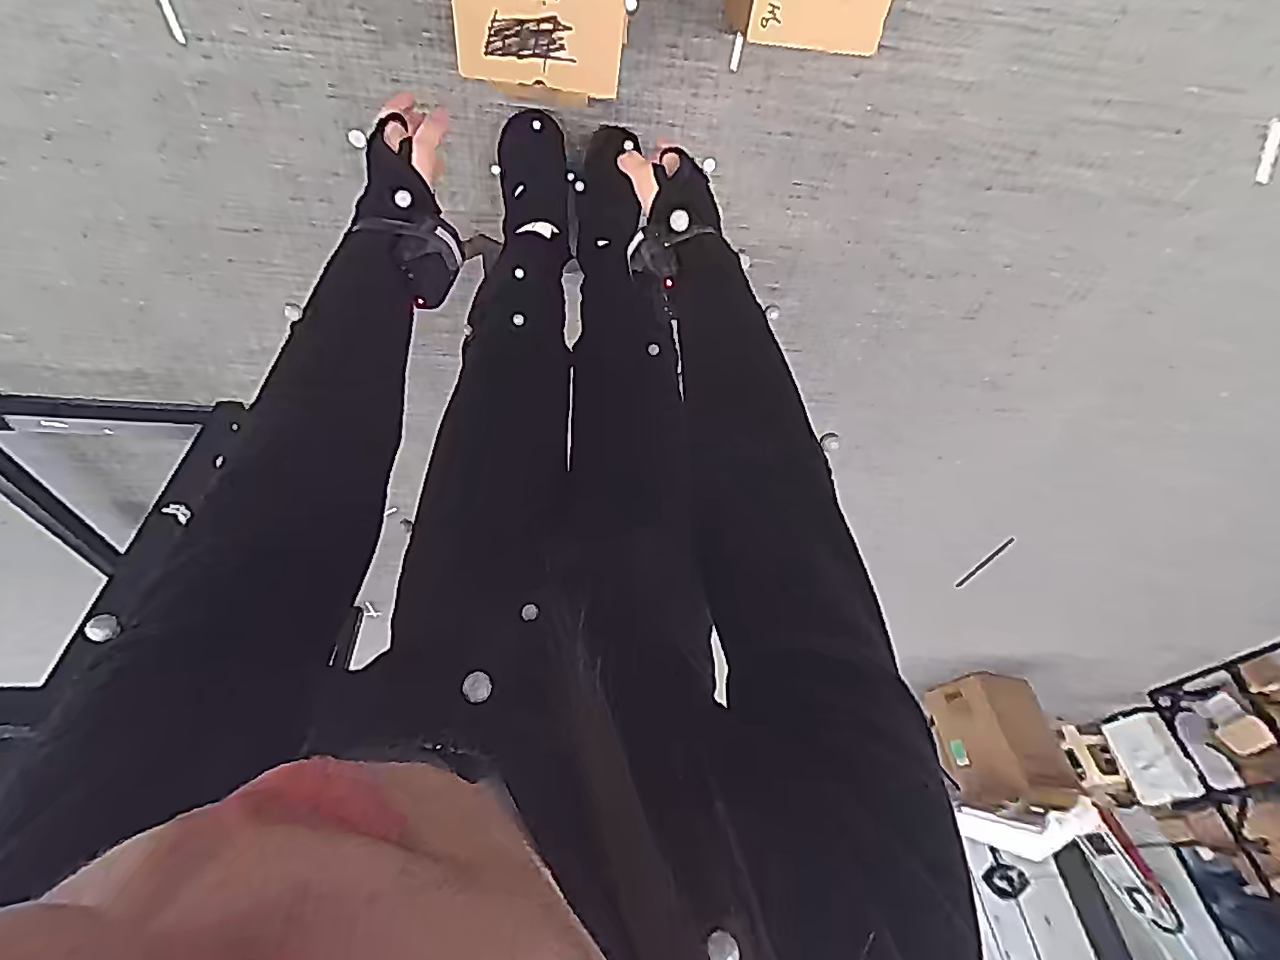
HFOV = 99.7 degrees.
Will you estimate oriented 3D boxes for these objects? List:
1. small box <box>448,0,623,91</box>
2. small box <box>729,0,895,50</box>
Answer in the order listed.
[{"bbox_3d":[-0.098,-0.528,0.539,0.168,0.176,0.179,2,140,-9],"label":"small box"},{"bbox_3d":[0.220,-0.663,0.664,0.179,0.176,0.168,1,142,-8],"label":"small box"}]
